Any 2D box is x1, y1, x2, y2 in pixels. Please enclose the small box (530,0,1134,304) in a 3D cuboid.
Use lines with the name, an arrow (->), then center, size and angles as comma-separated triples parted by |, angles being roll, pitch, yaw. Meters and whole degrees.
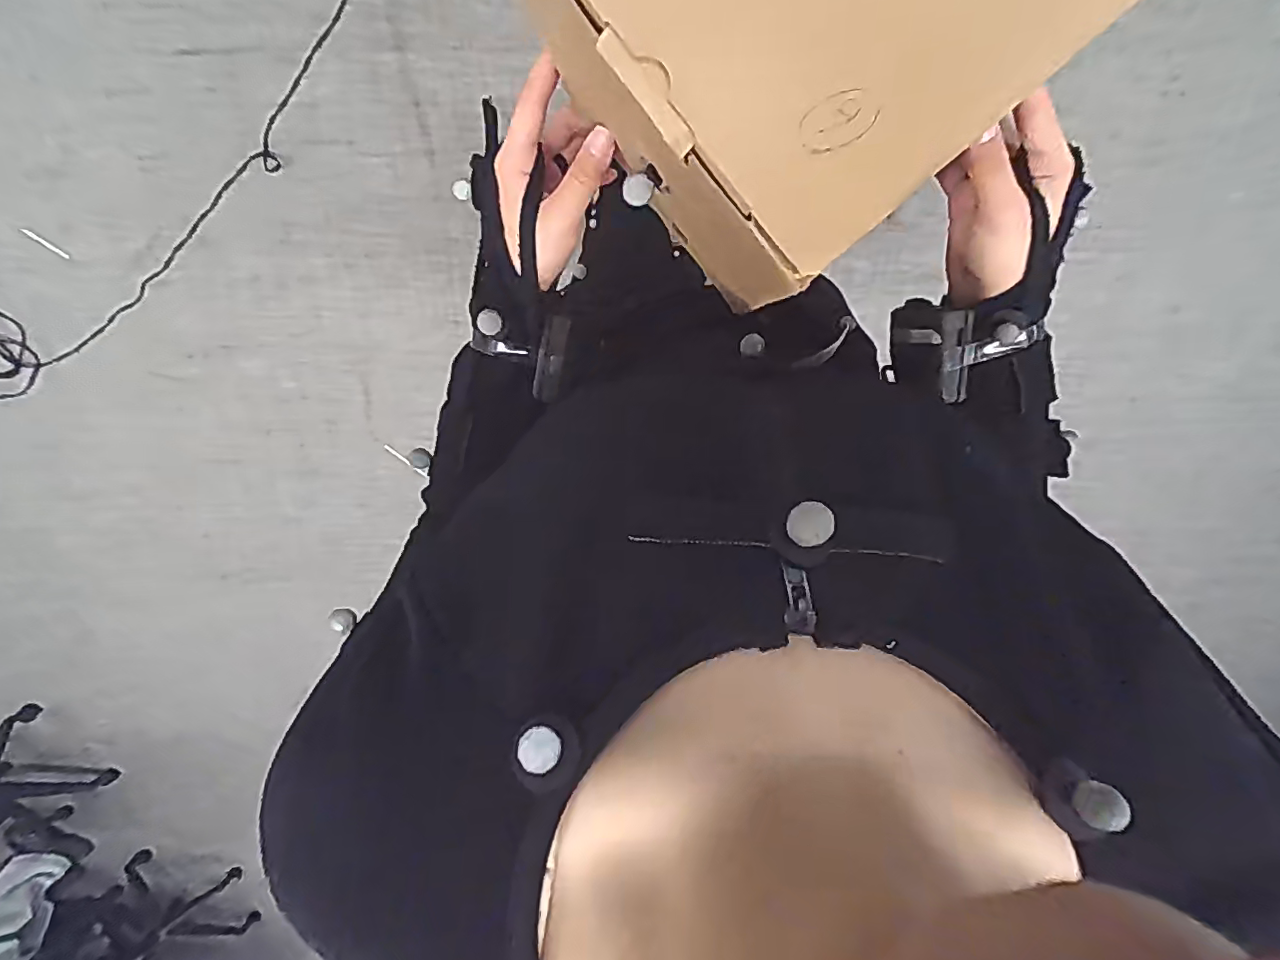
small box -> 0.070, -0.198, 0.237 | 0.179, 0.176, 0.168 | -39, 98, 12
